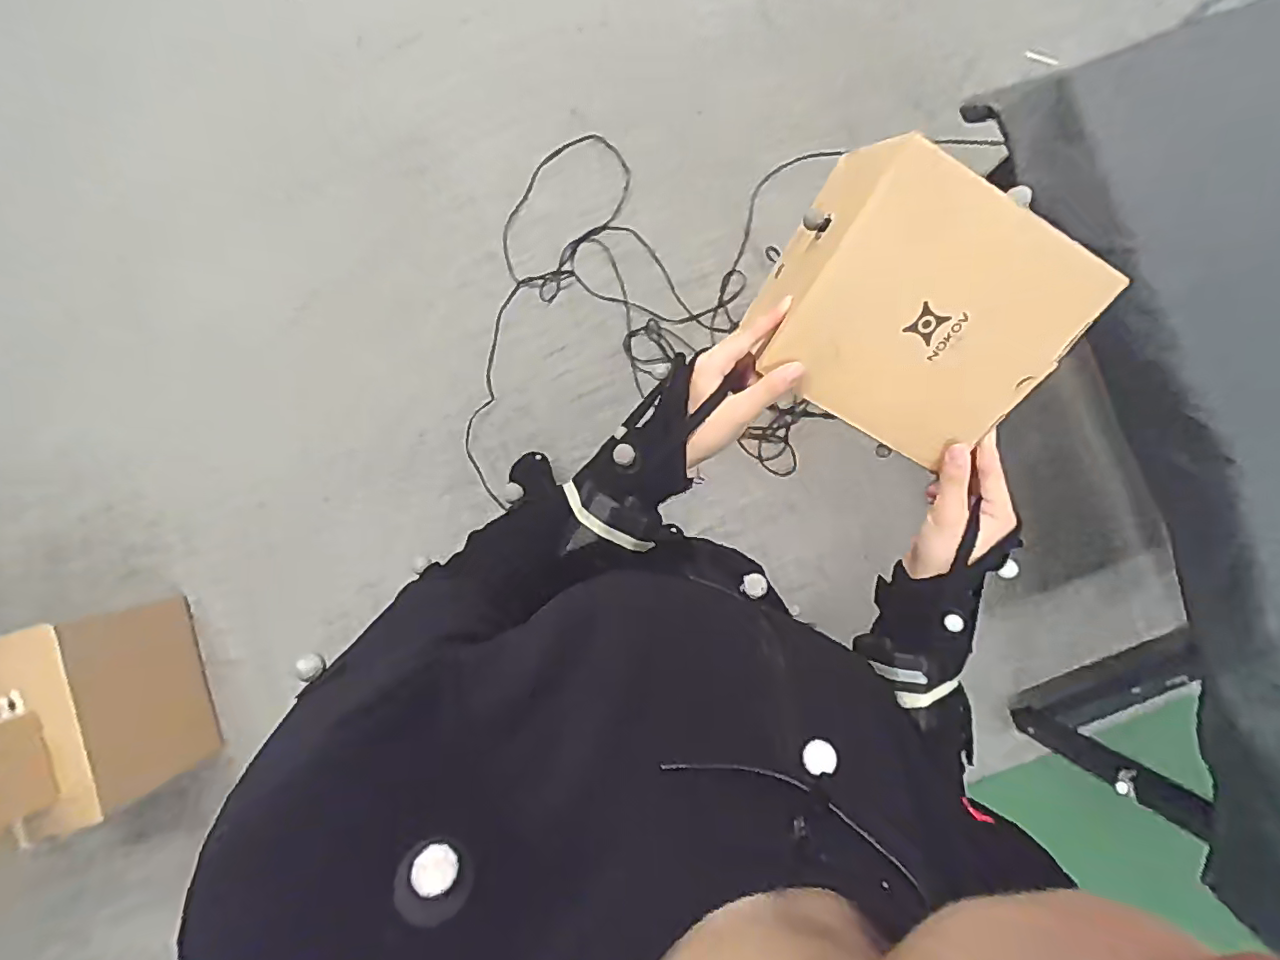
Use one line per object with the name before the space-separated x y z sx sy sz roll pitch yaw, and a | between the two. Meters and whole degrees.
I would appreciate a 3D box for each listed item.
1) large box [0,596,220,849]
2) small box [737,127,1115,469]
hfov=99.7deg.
large box | -1.230 0.511 1.191 0.320 0.320 0.408 -16 87 -2
small box | 0.194 -0.142 0.433 0.179 0.176 0.168 26 116 -9
